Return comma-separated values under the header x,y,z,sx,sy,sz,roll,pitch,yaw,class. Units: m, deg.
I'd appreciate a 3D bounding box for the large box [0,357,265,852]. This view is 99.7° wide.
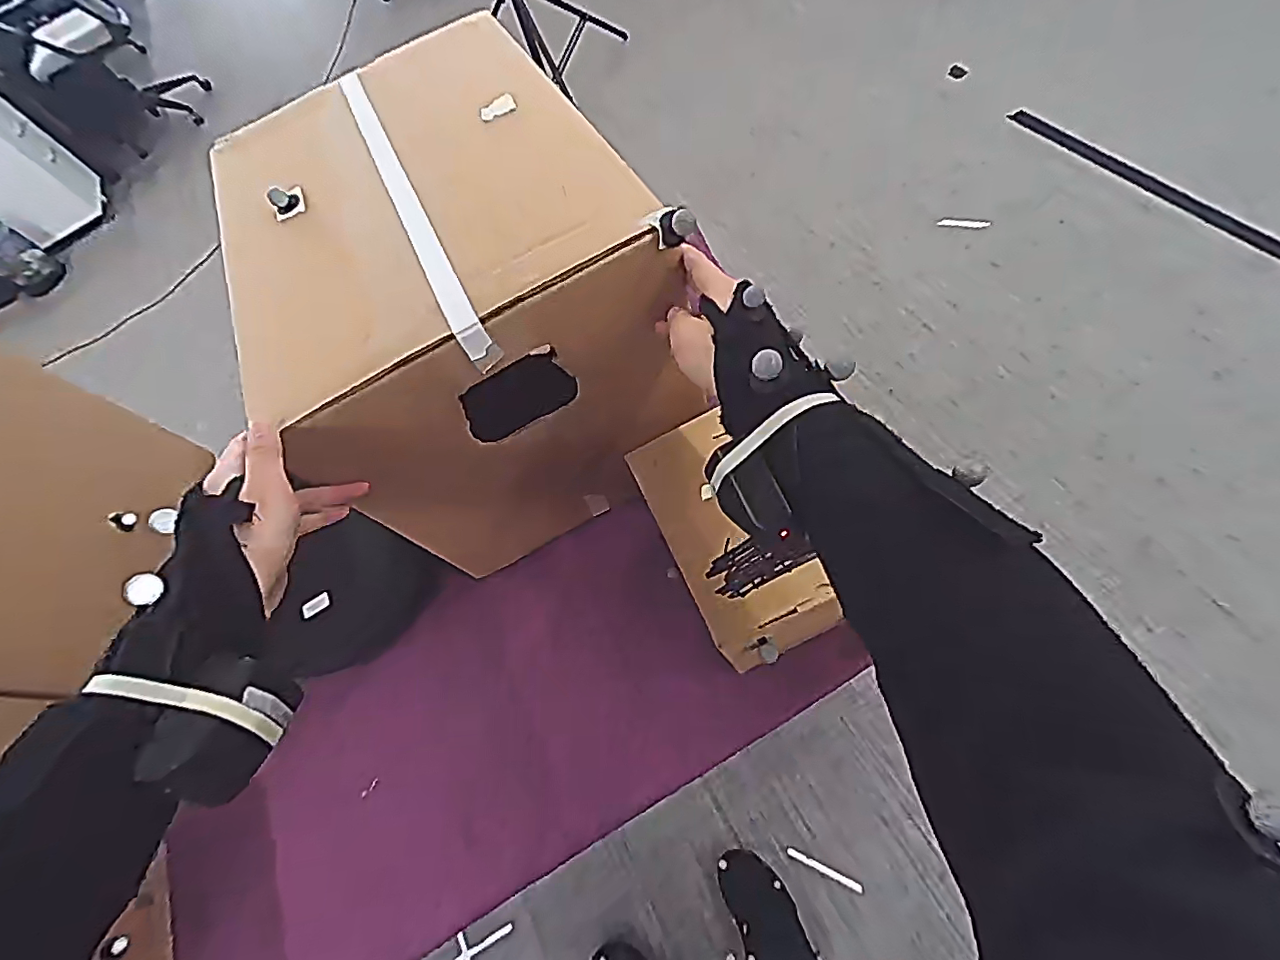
x,y,z,sx,sy,sz,roll,pitch,yaw,class
-0.690,0.132,0.578,0.320,0.320,0.408,-33,64,-2,large box
